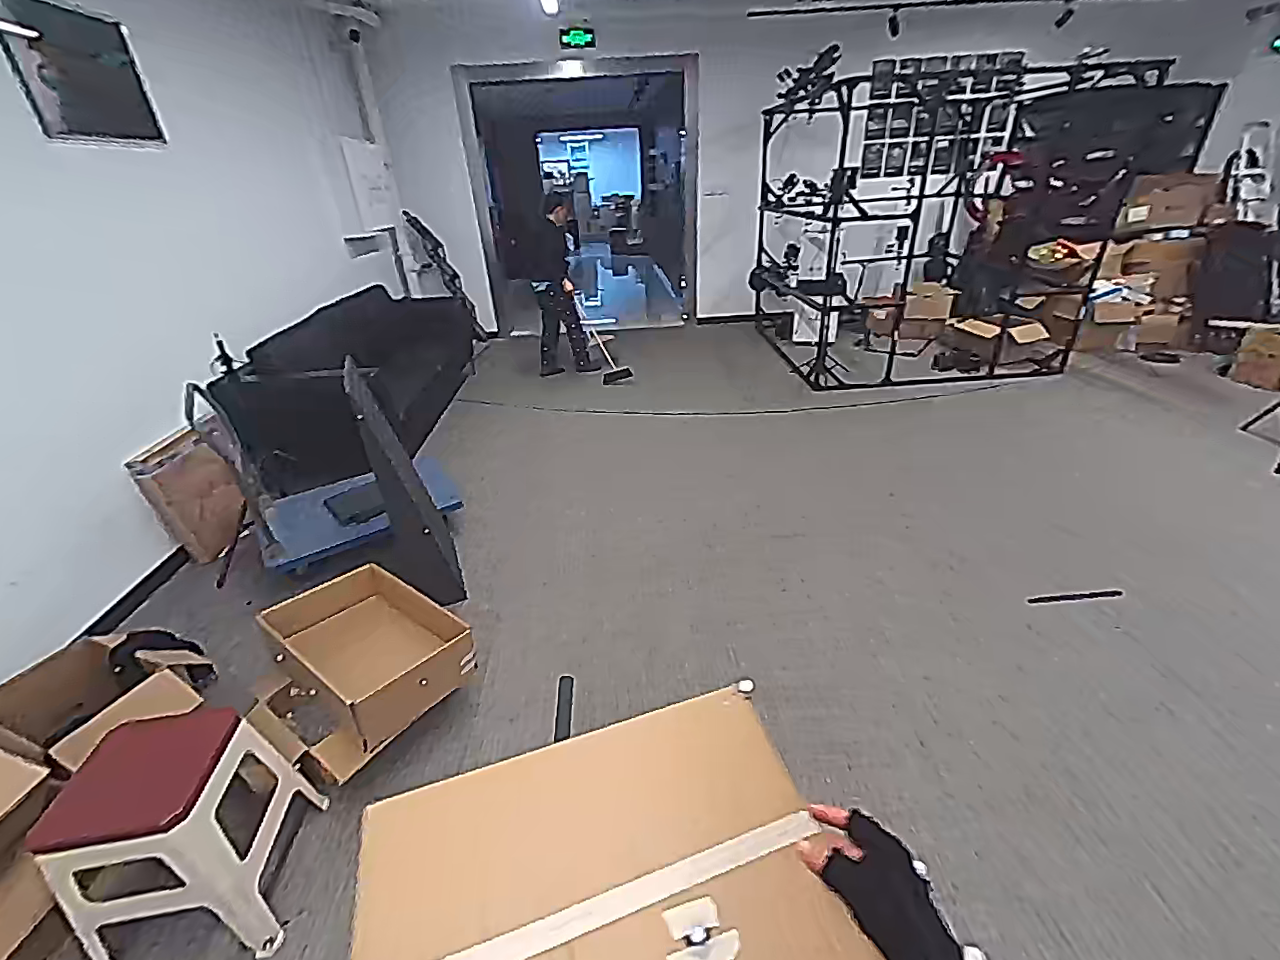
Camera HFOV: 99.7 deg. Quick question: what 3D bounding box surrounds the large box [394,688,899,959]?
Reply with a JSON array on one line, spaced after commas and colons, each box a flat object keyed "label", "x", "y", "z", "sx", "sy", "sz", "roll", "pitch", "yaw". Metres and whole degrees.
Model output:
[{"label": "large box", "x": -0.007, "y": 0.491, "z": 0.565, "sx": 0.408, "sy": 0.320, "sz": 0.320, "roll": -12, "pitch": 37, "yaw": -12}]
